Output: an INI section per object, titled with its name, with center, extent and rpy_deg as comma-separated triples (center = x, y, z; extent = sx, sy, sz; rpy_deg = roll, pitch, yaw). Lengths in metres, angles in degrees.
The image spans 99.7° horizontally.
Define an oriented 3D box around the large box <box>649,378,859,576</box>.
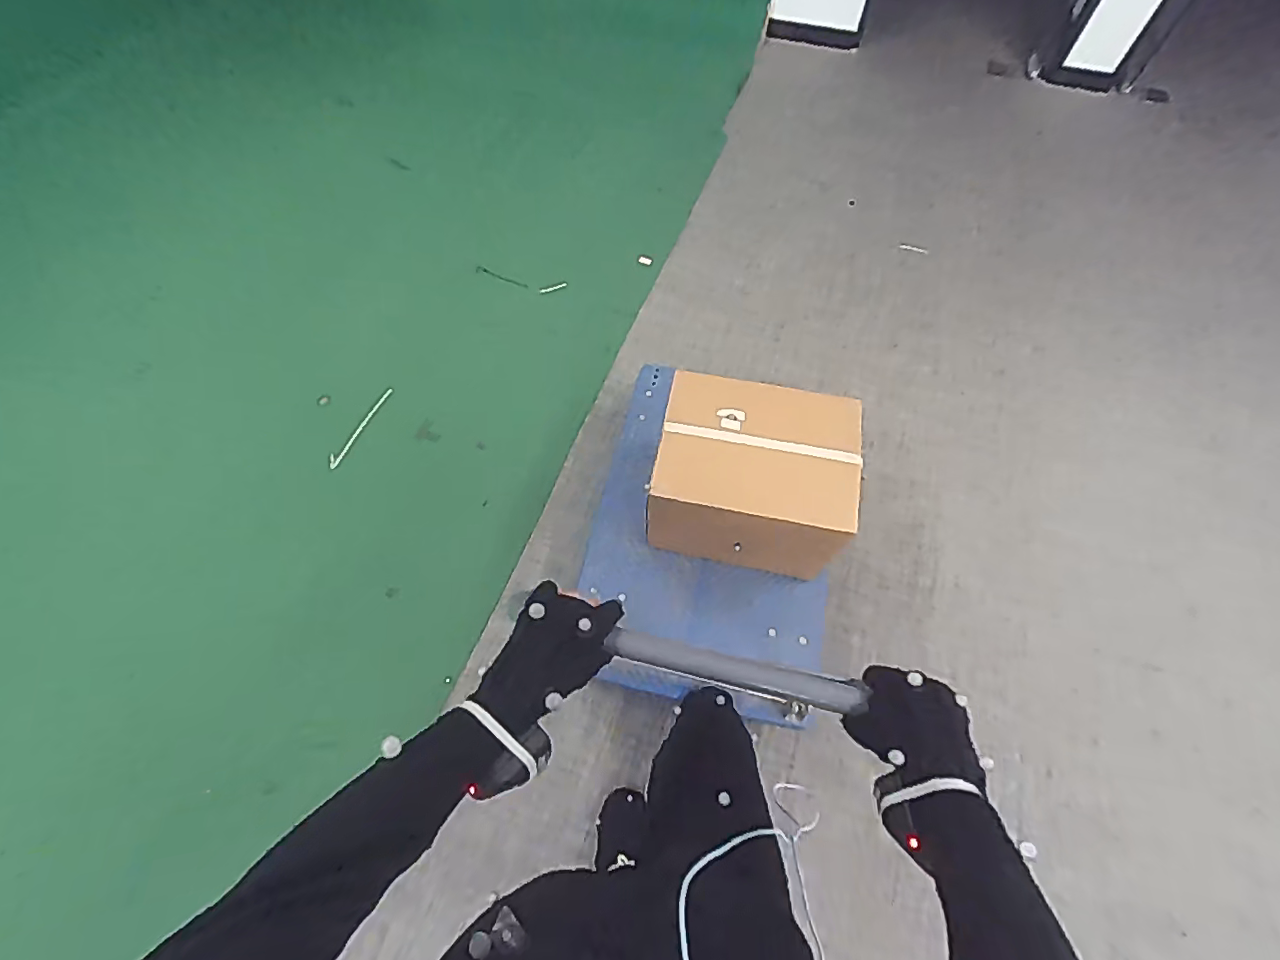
[large box]
center = 0.249, 0.004, 1.243
extent = 0.408, 0.320, 0.320
rpy_deg = 11, 64, 7
